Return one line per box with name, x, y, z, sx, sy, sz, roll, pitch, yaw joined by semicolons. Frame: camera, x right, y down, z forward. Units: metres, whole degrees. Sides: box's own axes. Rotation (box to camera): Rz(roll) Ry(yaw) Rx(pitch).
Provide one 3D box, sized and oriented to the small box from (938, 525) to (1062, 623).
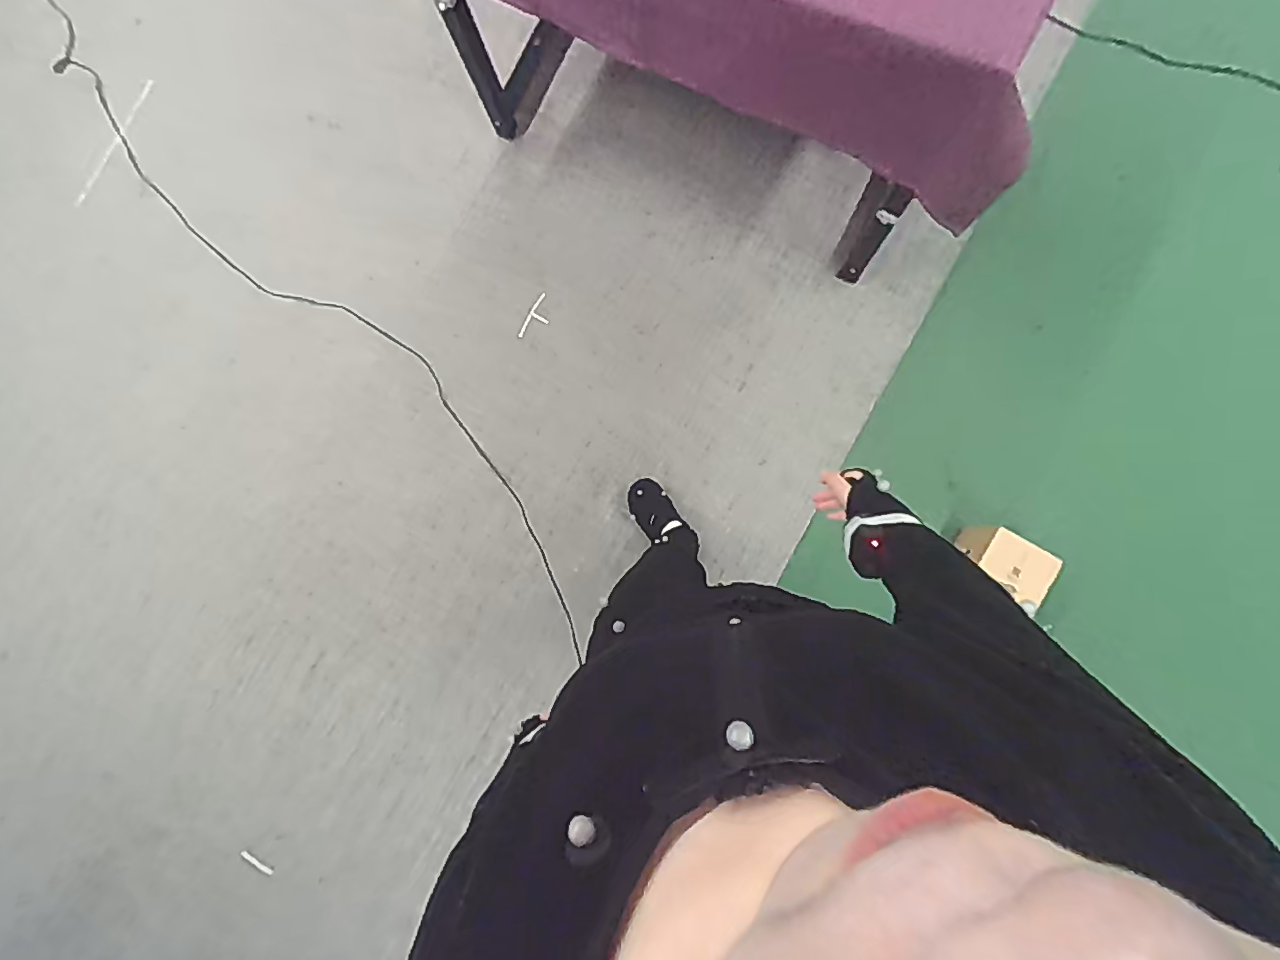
small box;0.884;0.230;1.351;0.168;0.176;0.179;32;87;6
